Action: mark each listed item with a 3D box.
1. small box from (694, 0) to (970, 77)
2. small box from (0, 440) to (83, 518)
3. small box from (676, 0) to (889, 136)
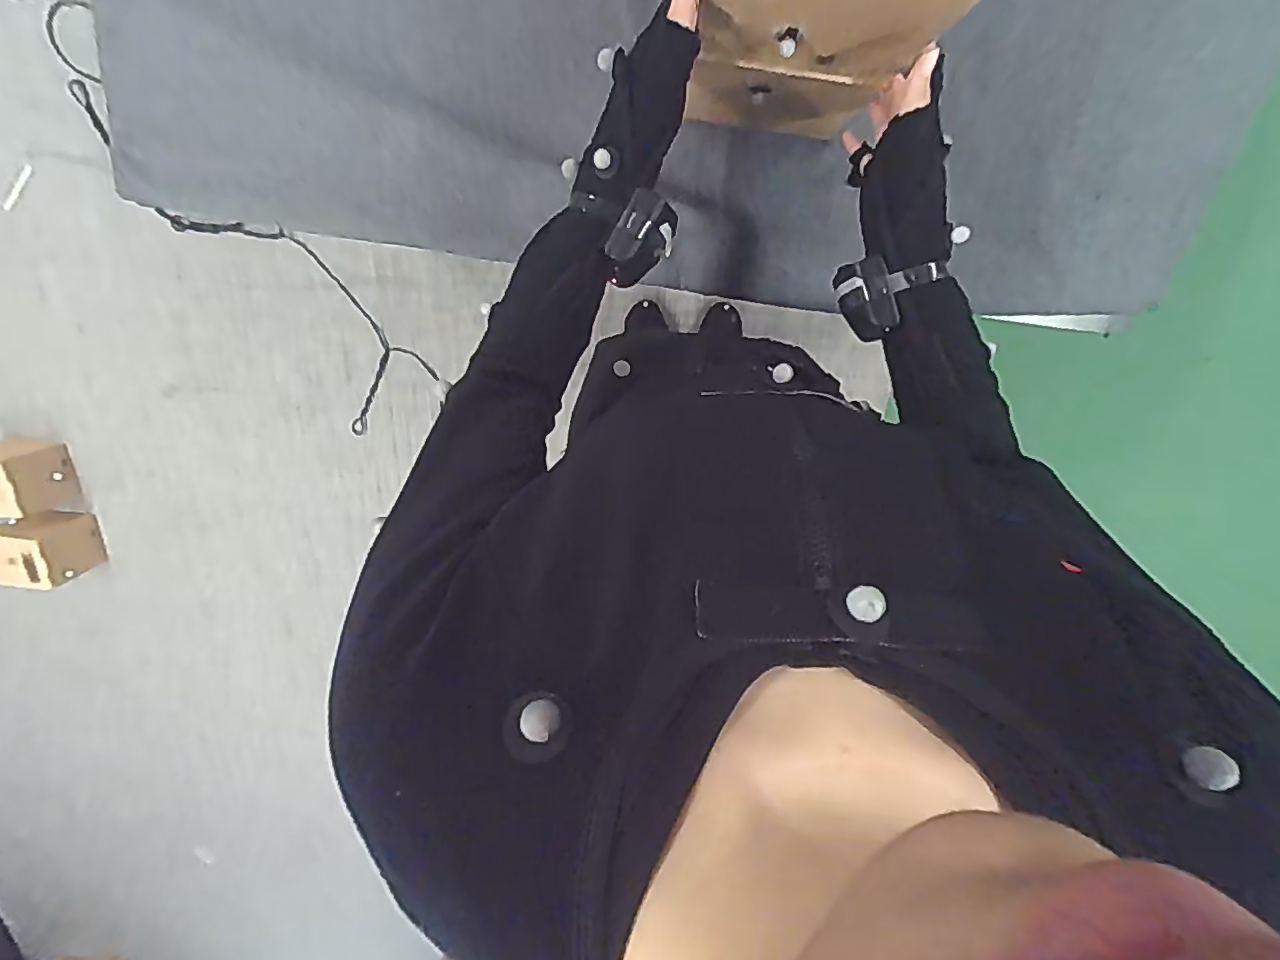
[{"bbox_3d":[0.129,-0.392,0.337,0.168,0.176,0.179,7,111,0],"label":"small box"},{"bbox_3d":[-1.743,-0.009,1.514,0.179,0.176,0.168,4,111,1],"label":"small box"},{"bbox_3d":[0.130,-0.437,0.494,0.179,0.176,0.168,8,110,-1],"label":"small box"}]
